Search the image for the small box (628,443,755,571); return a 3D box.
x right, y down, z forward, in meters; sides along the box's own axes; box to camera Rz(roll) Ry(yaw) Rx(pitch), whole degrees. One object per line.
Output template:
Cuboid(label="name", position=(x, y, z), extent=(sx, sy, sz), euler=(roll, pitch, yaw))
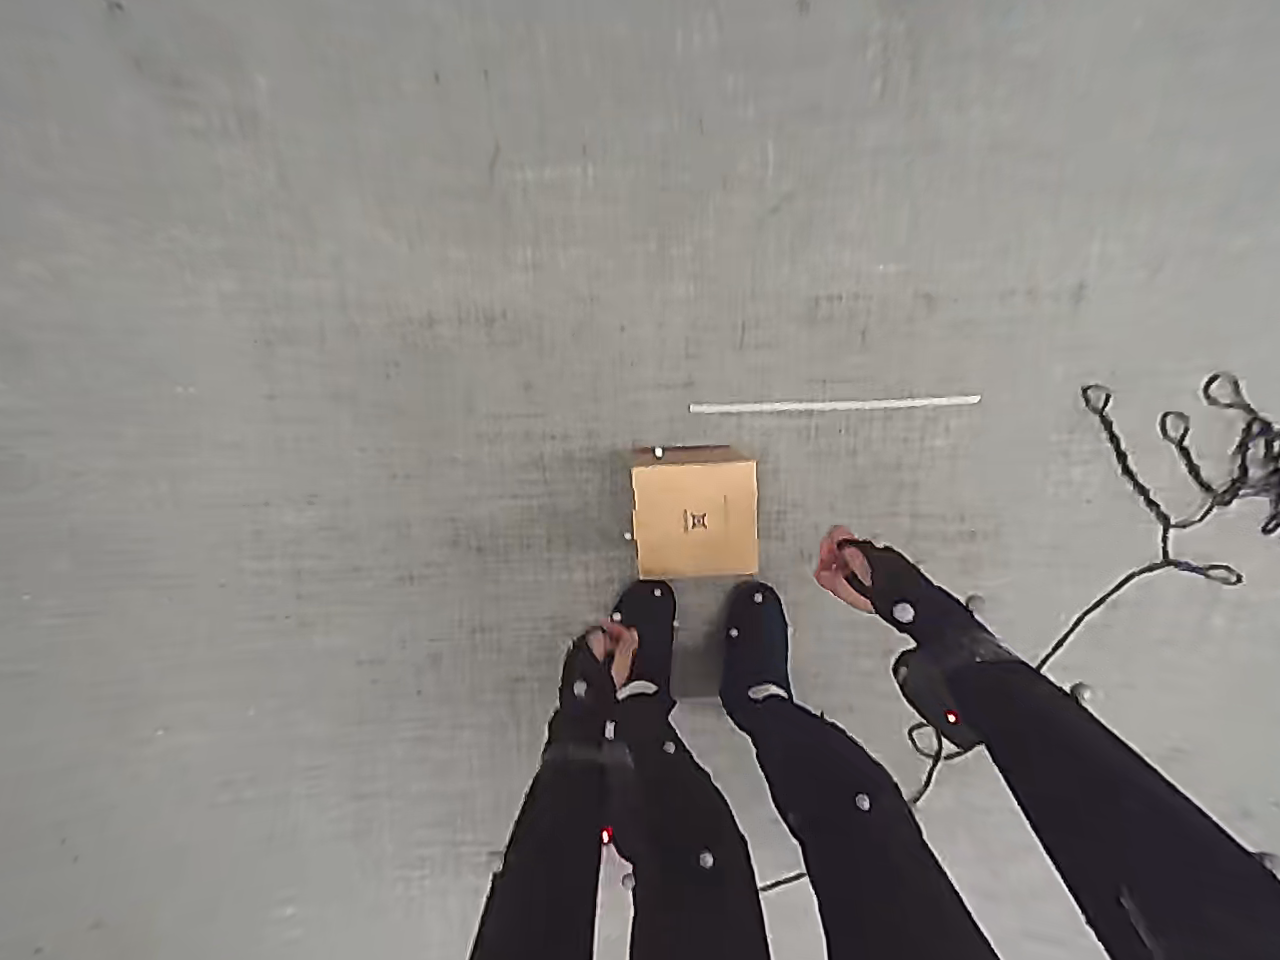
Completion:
Cuboid(label="small box", position=(0.073, 0.034, 0.834), extent=(0.179, 0.176, 0.168), euler=(-3, 100, -1))
